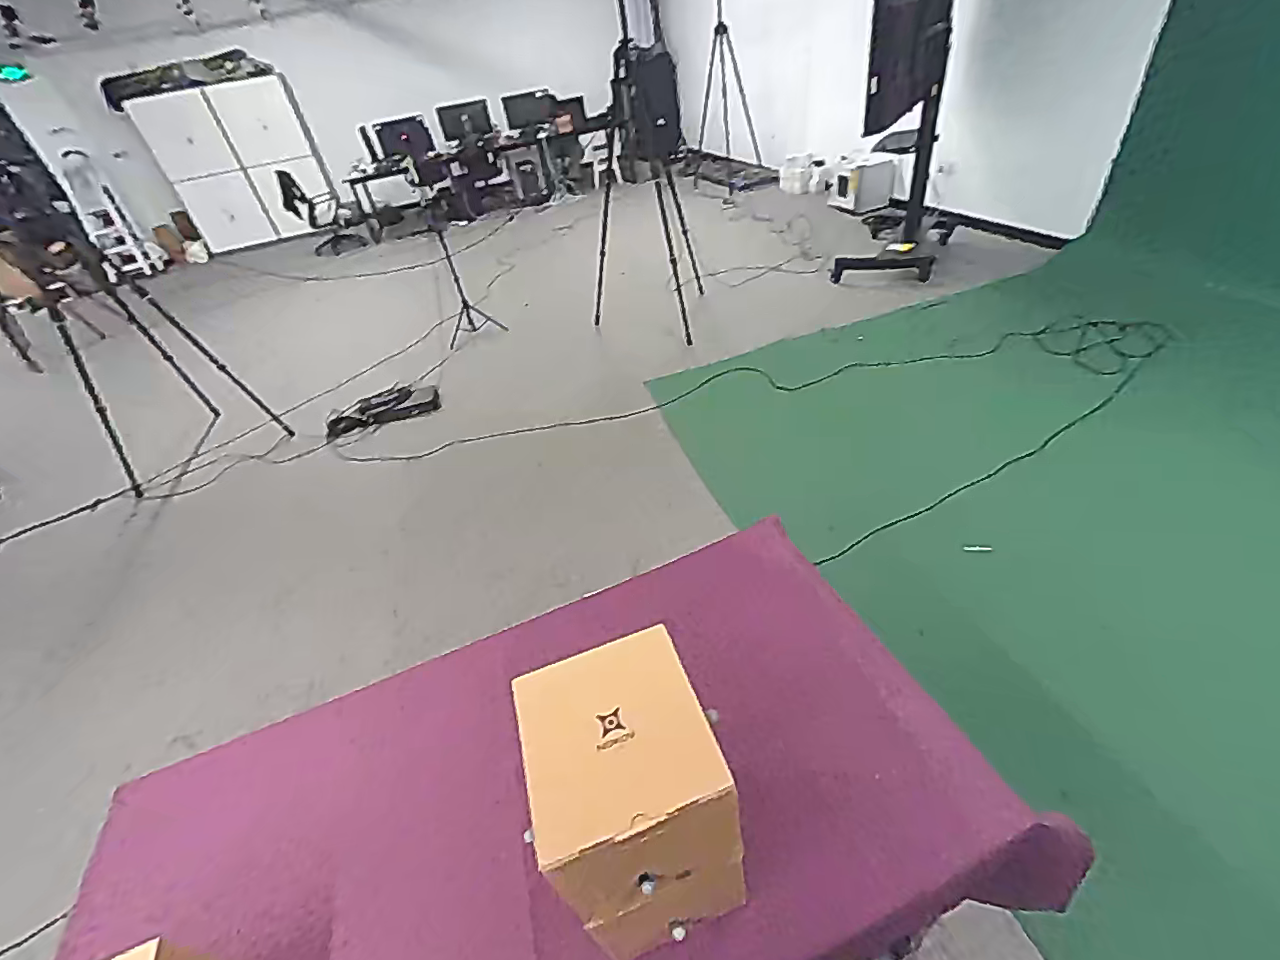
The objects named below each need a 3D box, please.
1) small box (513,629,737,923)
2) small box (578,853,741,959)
[{"bbox_3d":[-0.014,0.289,0.537,0.168,0.176,0.179,-18,40,-9],"label":"small box"},{"bbox_3d":[0.007,0.415,0.638,0.168,0.176,0.179,-19,40,-9],"label":"small box"}]
